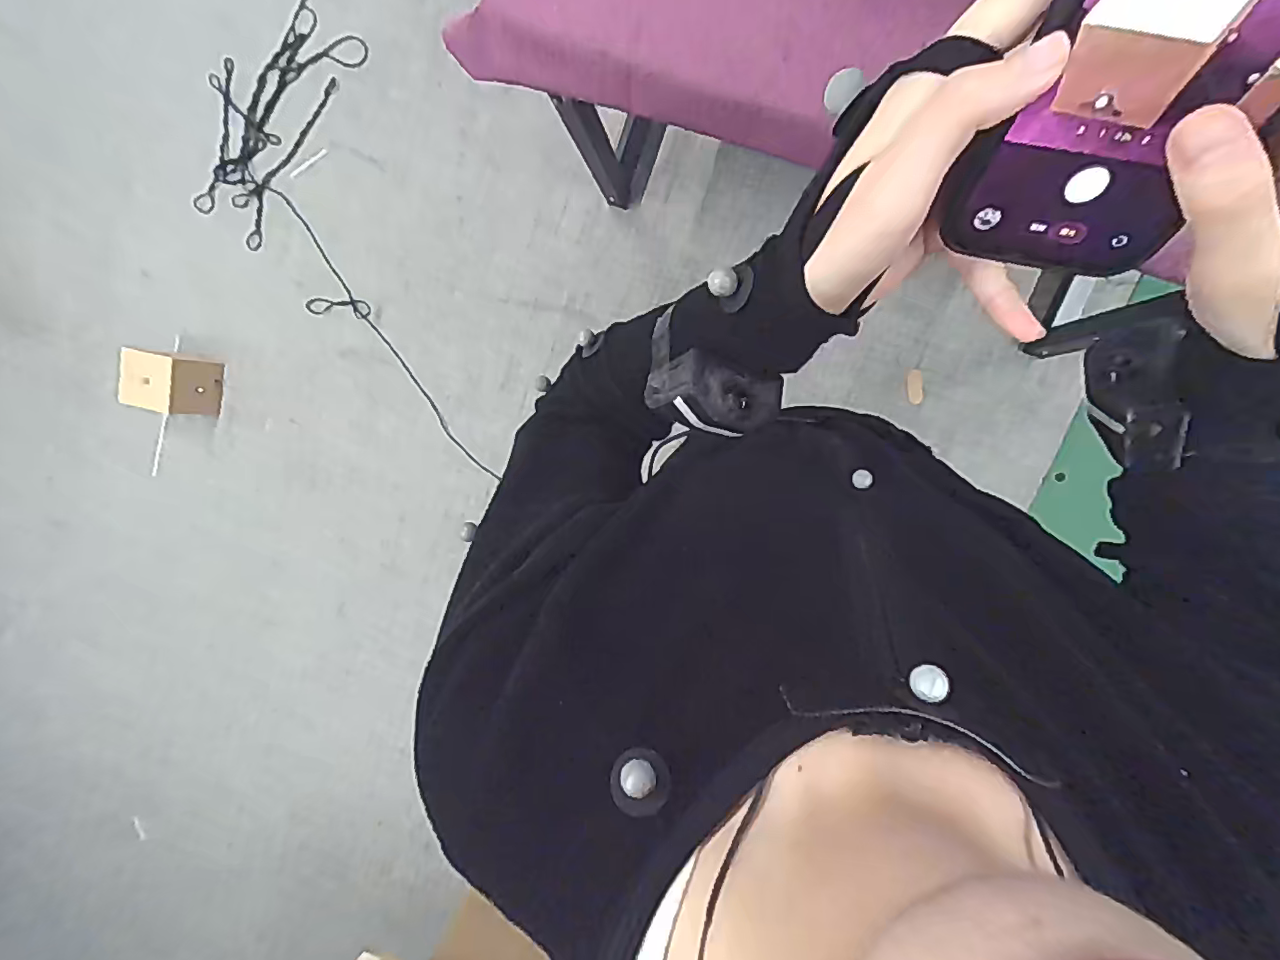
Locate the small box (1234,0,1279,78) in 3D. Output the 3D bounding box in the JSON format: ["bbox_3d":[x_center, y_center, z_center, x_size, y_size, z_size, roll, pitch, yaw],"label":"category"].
[{"bbox_3d":[0.757,-0.532,0.529,0.179,0.176,0.168,2,96,9],"label":"small box"}]

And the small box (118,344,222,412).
[{"bbox_3d":[-1.418,-0.305,1.639,0.179,0.176,0.168,14,98,8],"label":"small box"}]
